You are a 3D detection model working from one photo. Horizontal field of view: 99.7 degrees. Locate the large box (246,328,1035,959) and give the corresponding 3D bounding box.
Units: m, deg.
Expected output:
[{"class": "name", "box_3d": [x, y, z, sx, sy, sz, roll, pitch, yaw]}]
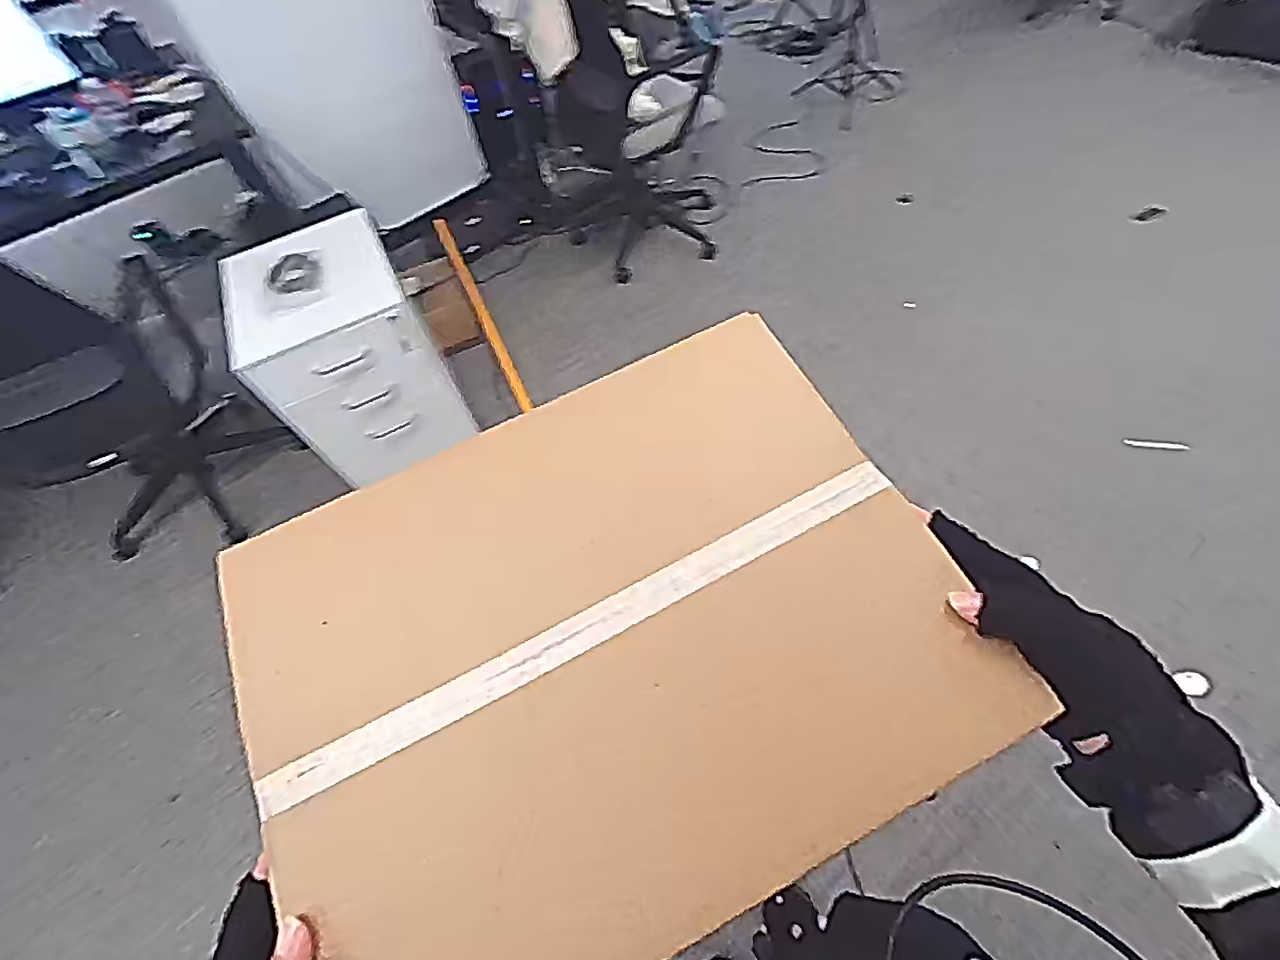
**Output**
[{"class": "large box", "box_3d": [-0.010, 0.150, 0.465, 0.408, 0.320, 0.320, -26, 67, -7]}]
